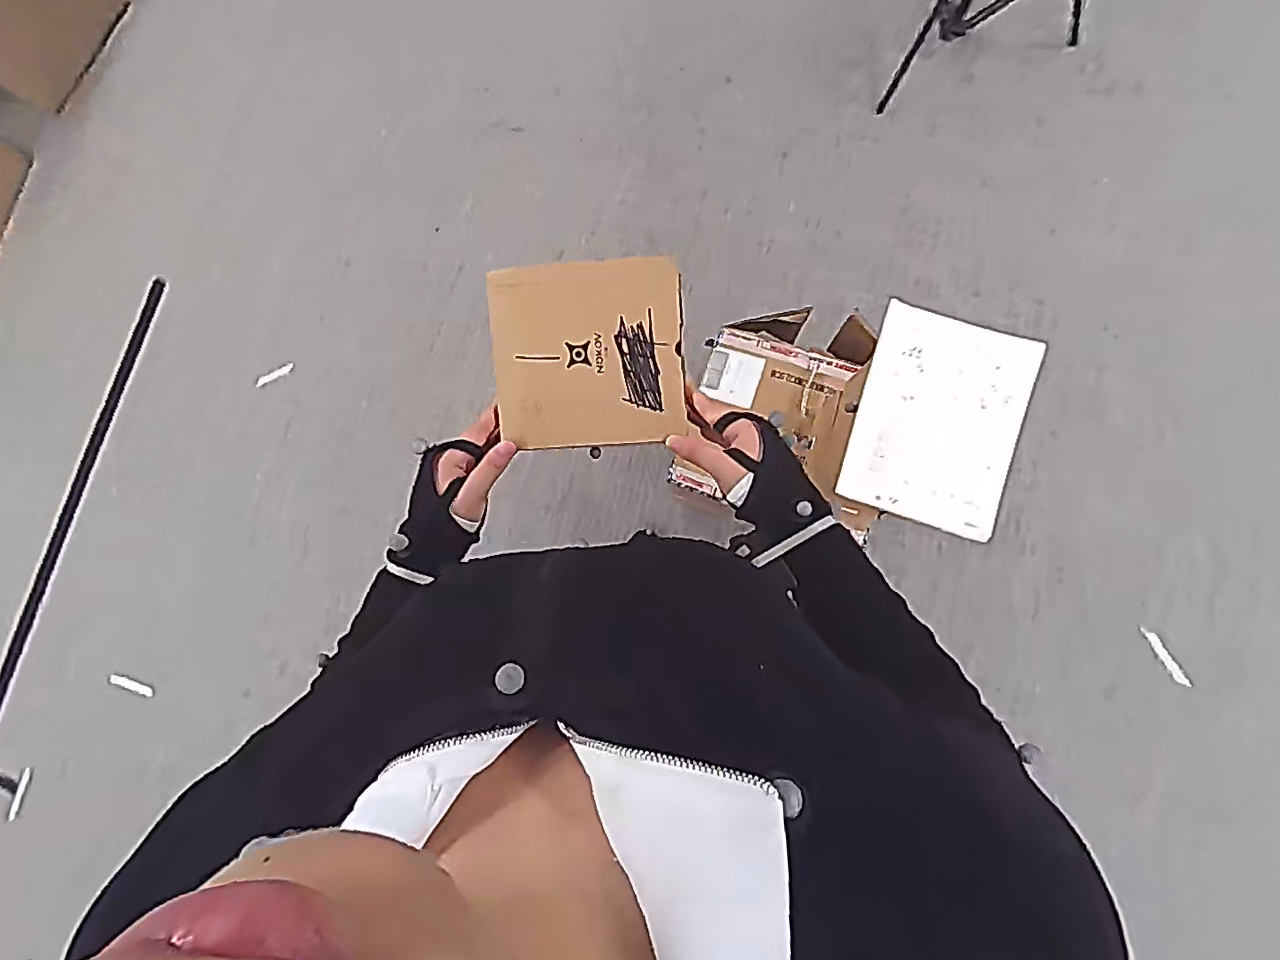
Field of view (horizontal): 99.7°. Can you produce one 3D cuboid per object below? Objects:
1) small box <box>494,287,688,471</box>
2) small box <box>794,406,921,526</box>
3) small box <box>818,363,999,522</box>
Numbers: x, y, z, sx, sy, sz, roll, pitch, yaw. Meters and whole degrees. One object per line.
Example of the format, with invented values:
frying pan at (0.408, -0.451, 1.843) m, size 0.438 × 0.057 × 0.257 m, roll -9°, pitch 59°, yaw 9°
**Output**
small box at (-0.043, -0.103, 0.587) m, size 0.179 × 0.176 × 0.168 m, roll -3°, pitch 96°, yaw 3°
small box at (0.389, -0.018, 0.954) m, size 0.179 × 0.176 × 0.168 m, roll 13°, pitch 85°, yaw 6°
small box at (0.378, -0.045, 0.793) m, size 0.168 × 0.176 × 0.179 m, roll 16°, pitch 85°, yaw 5°
